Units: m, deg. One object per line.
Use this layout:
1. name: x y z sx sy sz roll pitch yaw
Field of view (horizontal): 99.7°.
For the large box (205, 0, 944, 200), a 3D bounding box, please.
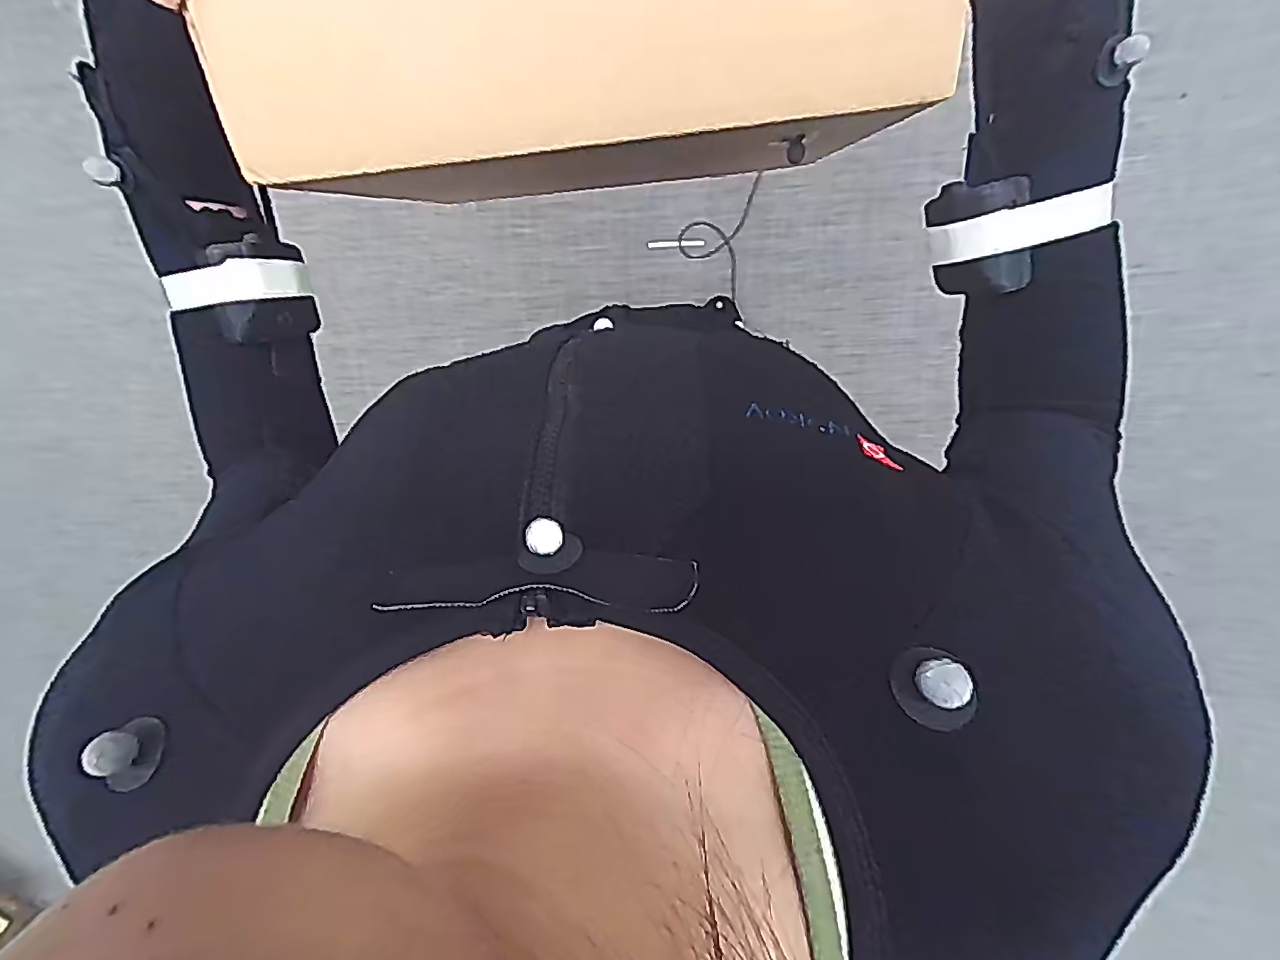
1. large box: -0.039 -0.398 0.389 0.408 0.320 0.320 -4 114 5
